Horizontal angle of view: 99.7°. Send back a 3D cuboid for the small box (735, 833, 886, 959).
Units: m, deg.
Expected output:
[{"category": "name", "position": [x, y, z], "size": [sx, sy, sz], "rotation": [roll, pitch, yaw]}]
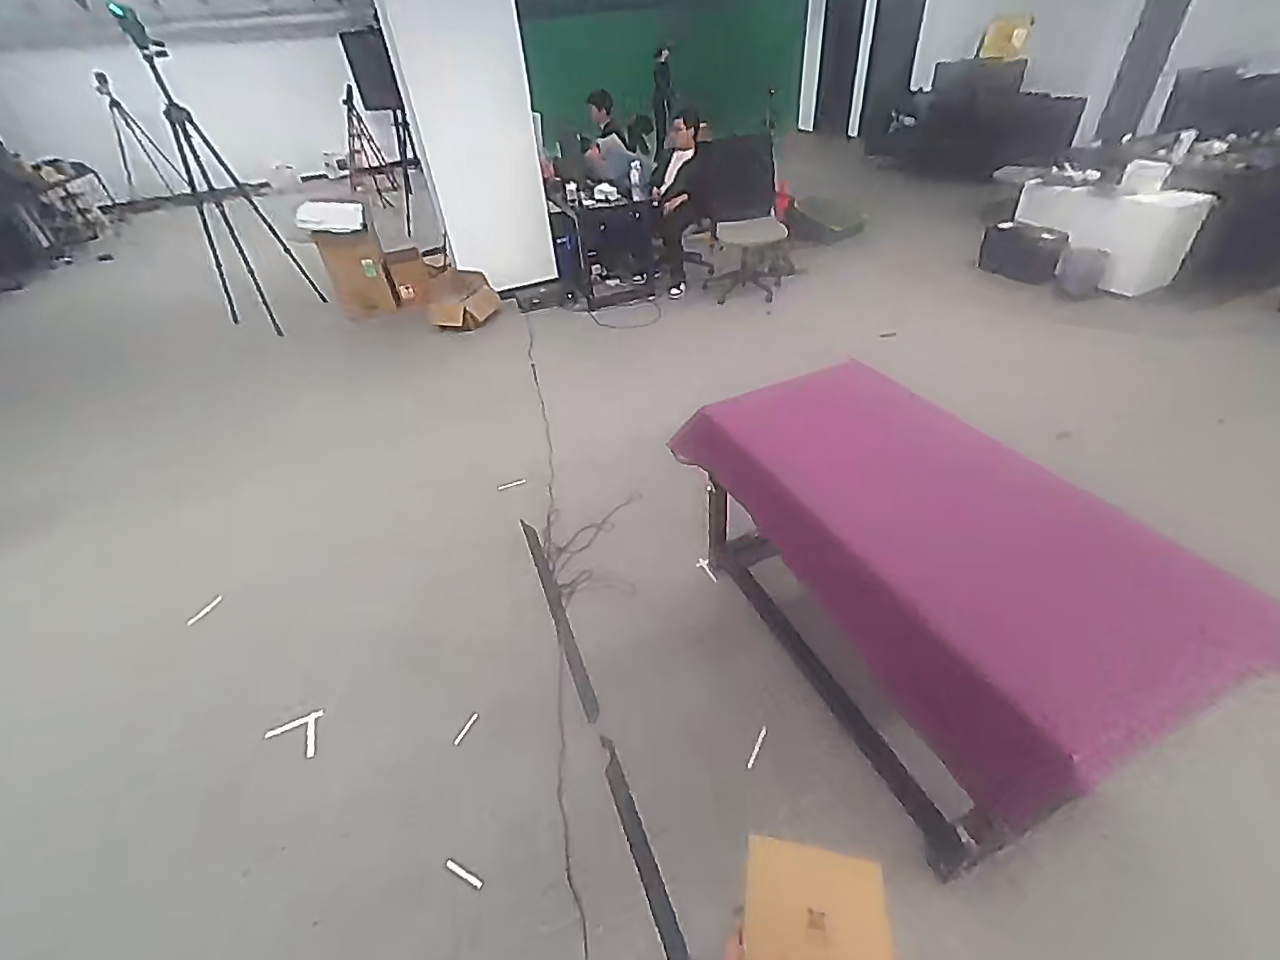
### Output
[{"category": "small box", "position": [0.209, 0.593, 0.690], "size": [0.168, 0.176, 0.179], "rotation": [4, 42, 14]}]
